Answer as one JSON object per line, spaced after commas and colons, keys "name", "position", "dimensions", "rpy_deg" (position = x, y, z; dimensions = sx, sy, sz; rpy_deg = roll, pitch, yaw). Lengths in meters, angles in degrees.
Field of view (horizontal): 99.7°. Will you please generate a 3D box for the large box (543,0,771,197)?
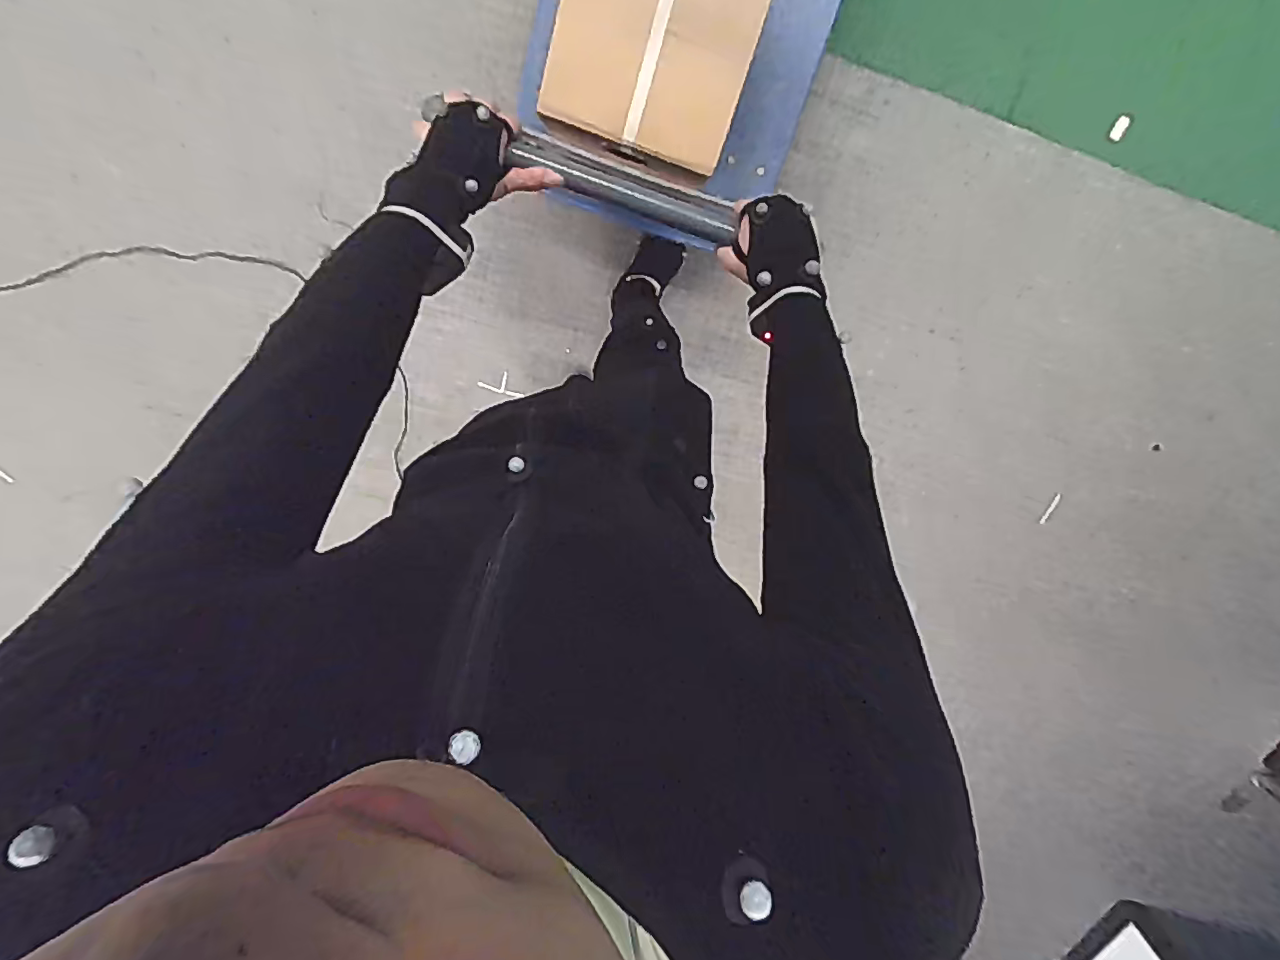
{"name": "large box", "position": [0.040, -0.794, 0.988], "dimensions": [0.320, 0.320, 0.408], "rpy_deg": [17, 110, -7]}
